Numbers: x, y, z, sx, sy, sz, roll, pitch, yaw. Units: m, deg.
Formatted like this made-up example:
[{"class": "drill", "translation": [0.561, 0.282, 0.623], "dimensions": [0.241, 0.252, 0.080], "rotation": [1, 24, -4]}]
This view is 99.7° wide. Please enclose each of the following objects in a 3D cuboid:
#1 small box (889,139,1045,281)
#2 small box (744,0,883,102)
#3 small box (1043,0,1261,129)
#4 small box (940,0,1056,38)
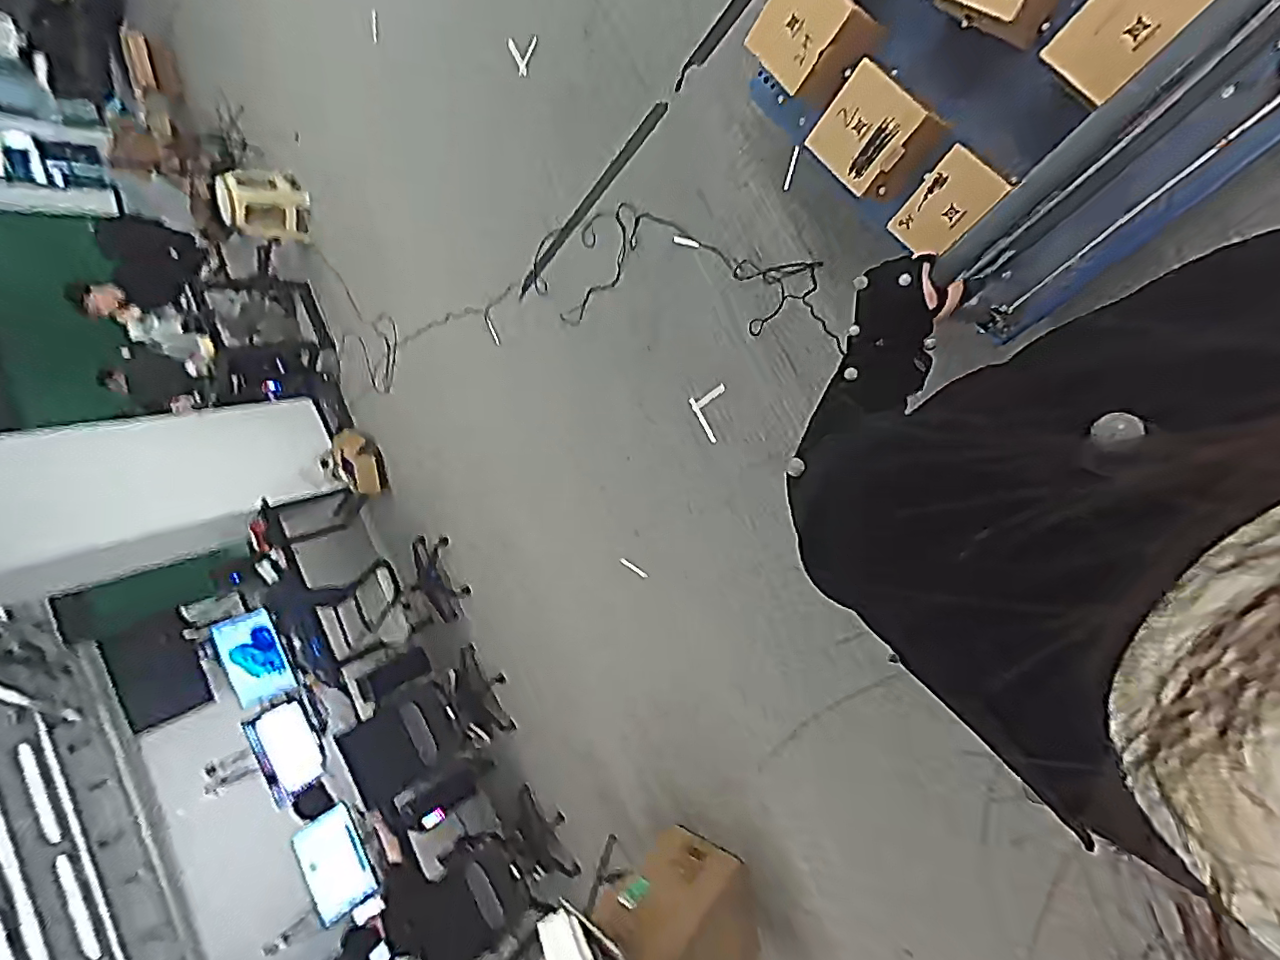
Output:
[{"class": "small box", "translation": [0.615, -0.498, 1.014], "dimensions": [0.179, 0.176, 0.168], "rotation": [52, 133, 16]}, {"class": "small box", "translation": [0.355, -0.914, 1.104], "dimensions": [0.179, 0.176, 0.168], "rotation": [56, 135, 12]}, {"class": "small box", "translation": [0.759, -0.664, 0.812], "dimensions": [0.179, 0.176, 0.168], "rotation": [56, 135, 13]}, {"class": "small box", "translation": [0.609, -0.861, 0.880], "dimensions": [0.179, 0.176, 0.168], "rotation": [47, 132, 22]}]
